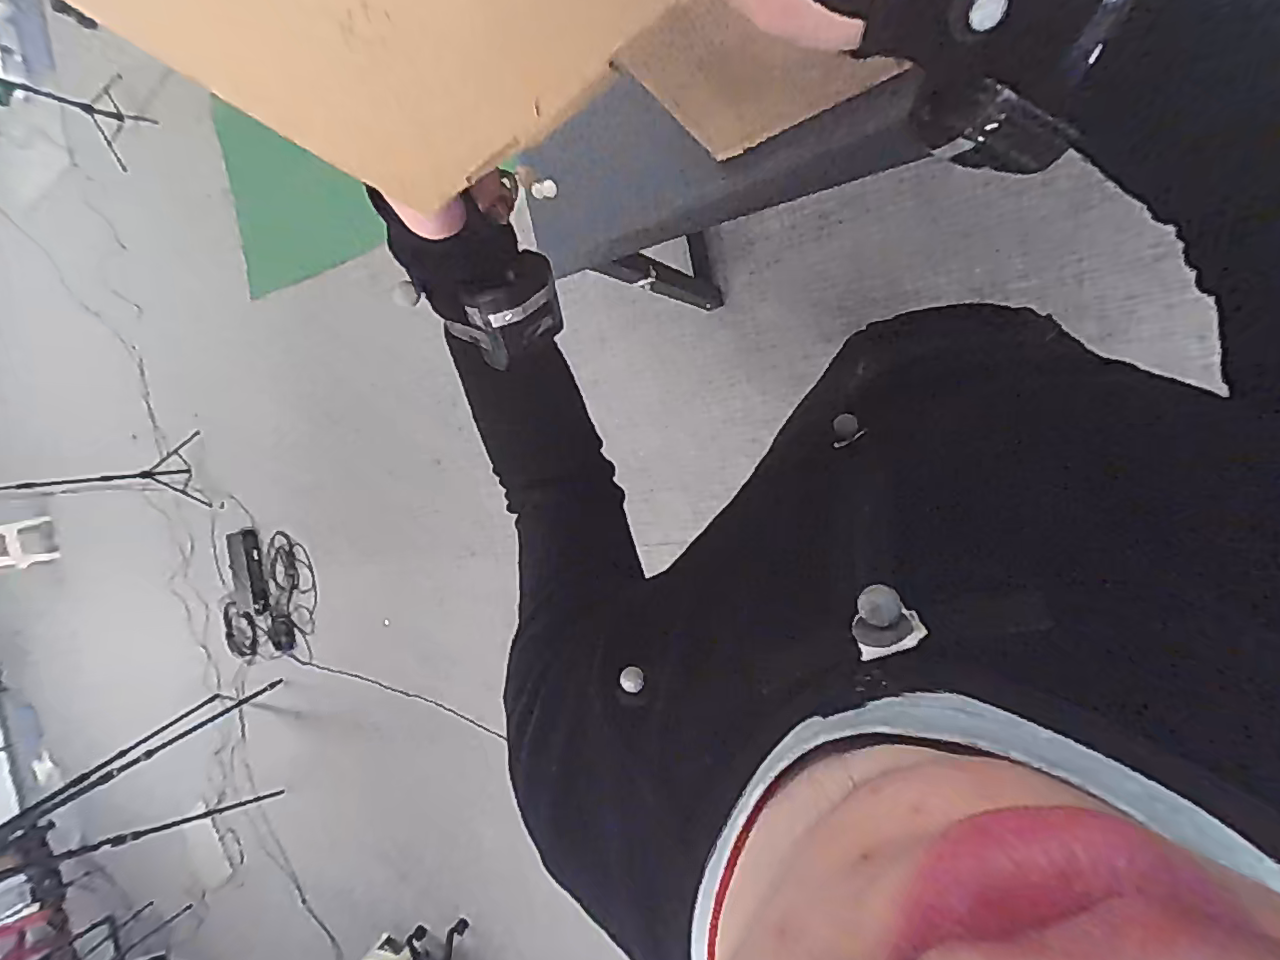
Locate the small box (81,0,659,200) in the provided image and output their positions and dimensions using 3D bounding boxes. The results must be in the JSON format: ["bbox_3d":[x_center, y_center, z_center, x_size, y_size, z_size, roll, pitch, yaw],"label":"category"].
[{"bbox_3d":[-0.084,-0.225,0.138,0.168,0.179,0.176,-13,71,37],"label":"small box"}]
